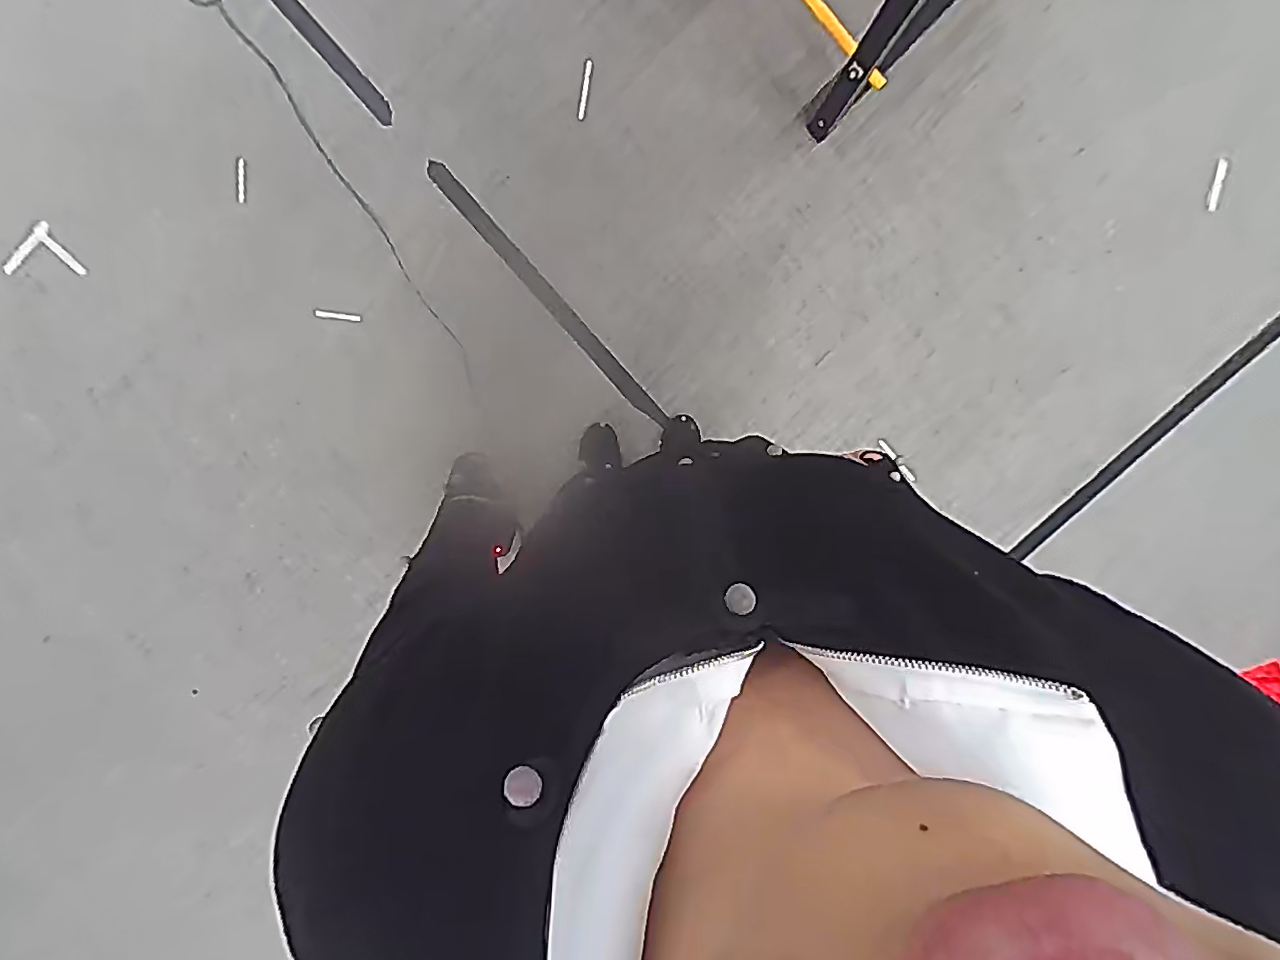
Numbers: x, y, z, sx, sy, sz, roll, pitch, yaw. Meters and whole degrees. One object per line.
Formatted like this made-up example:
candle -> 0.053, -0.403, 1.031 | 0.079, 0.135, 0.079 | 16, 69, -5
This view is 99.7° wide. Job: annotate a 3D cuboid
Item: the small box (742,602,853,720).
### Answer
small box -> 0.370, 0.427, 1.309 | 0.179, 0.176, 0.168 | -43, 96, 5
